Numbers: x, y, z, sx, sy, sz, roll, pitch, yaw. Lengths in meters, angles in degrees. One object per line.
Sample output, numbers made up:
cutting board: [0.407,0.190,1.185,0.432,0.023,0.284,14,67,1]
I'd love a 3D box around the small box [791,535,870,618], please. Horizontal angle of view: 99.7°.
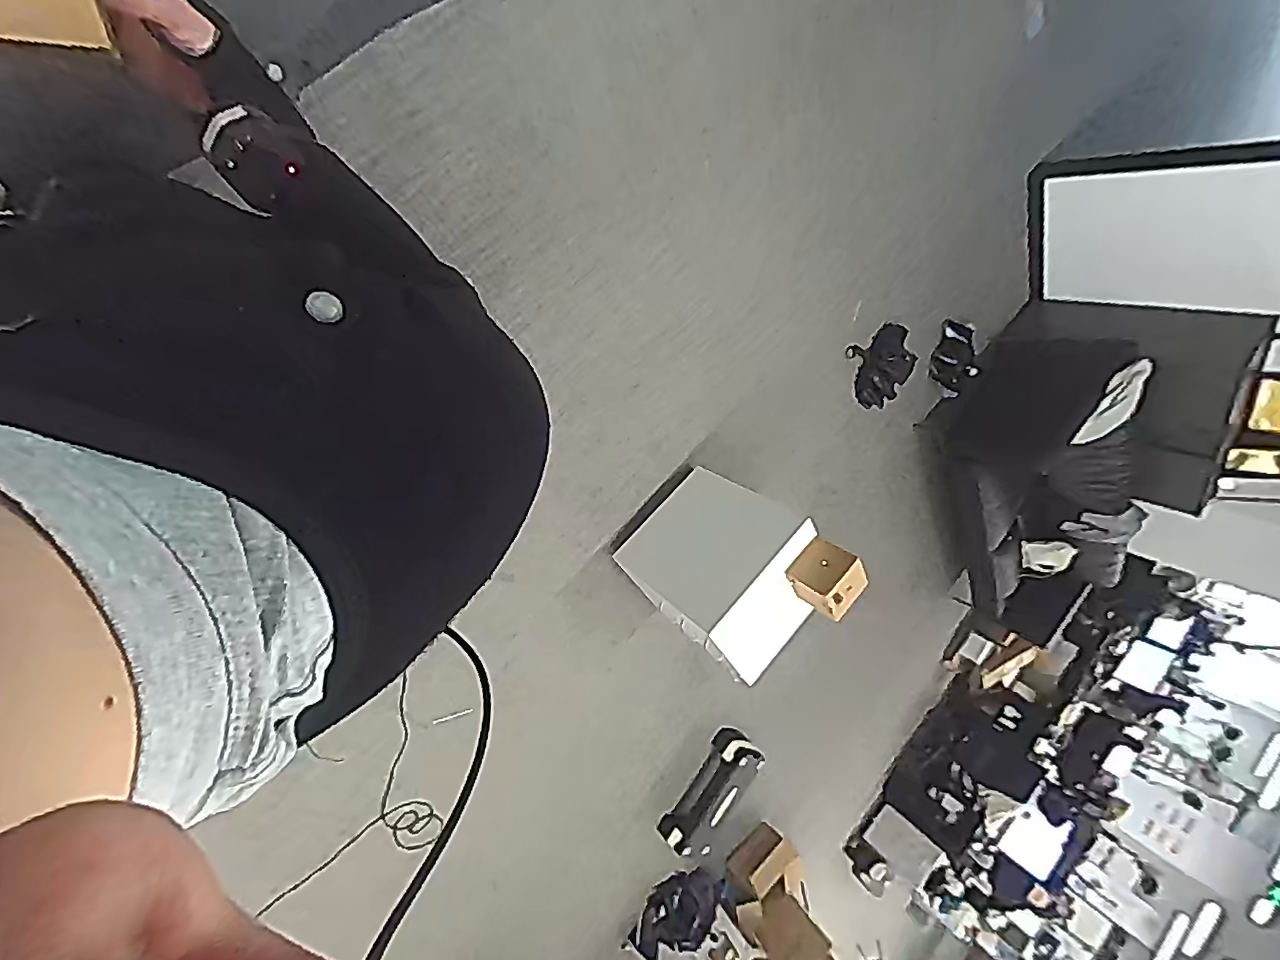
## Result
small box: [0.622,0.315,1.787,0.179,0.176,0.168,-46,131,-12]
